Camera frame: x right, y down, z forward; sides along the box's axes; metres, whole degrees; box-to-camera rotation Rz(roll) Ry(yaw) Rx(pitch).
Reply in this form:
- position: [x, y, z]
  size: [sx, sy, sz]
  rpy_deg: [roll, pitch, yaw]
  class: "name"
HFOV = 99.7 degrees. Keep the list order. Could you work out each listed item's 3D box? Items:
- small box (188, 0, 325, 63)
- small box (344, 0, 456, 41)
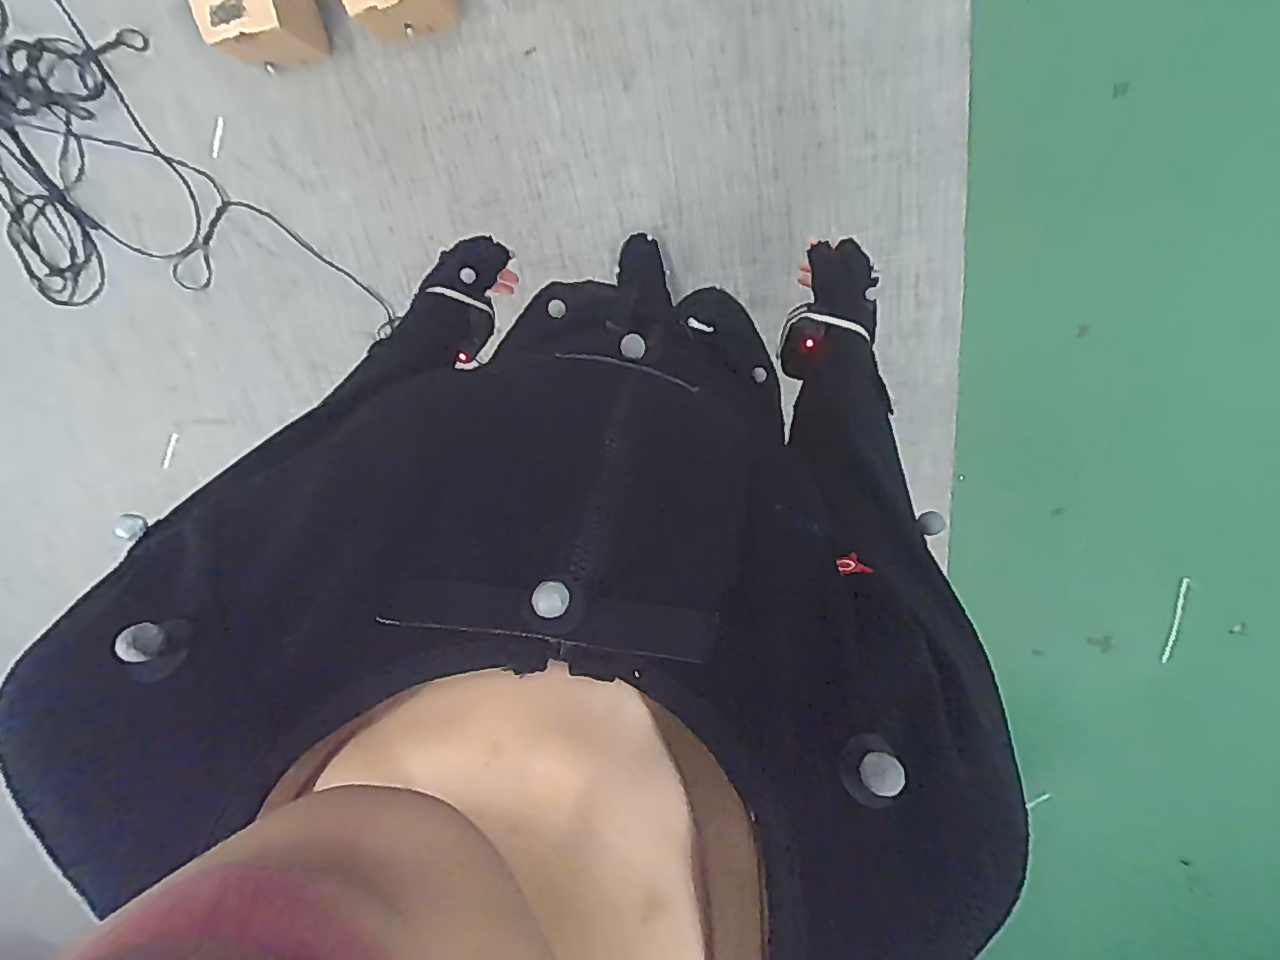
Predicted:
- position: [-0.773, -0.968, 1.081]
  size: [0.168, 0.176, 0.179]
  rpy_deg: [-6, 112, 6]
  class: "small box"
- position: [-0.486, -1.004, 1.050]
  size: [0.168, 0.176, 0.179]
  rpy_deg: [-11, 113, 8]
  class: "small box"
